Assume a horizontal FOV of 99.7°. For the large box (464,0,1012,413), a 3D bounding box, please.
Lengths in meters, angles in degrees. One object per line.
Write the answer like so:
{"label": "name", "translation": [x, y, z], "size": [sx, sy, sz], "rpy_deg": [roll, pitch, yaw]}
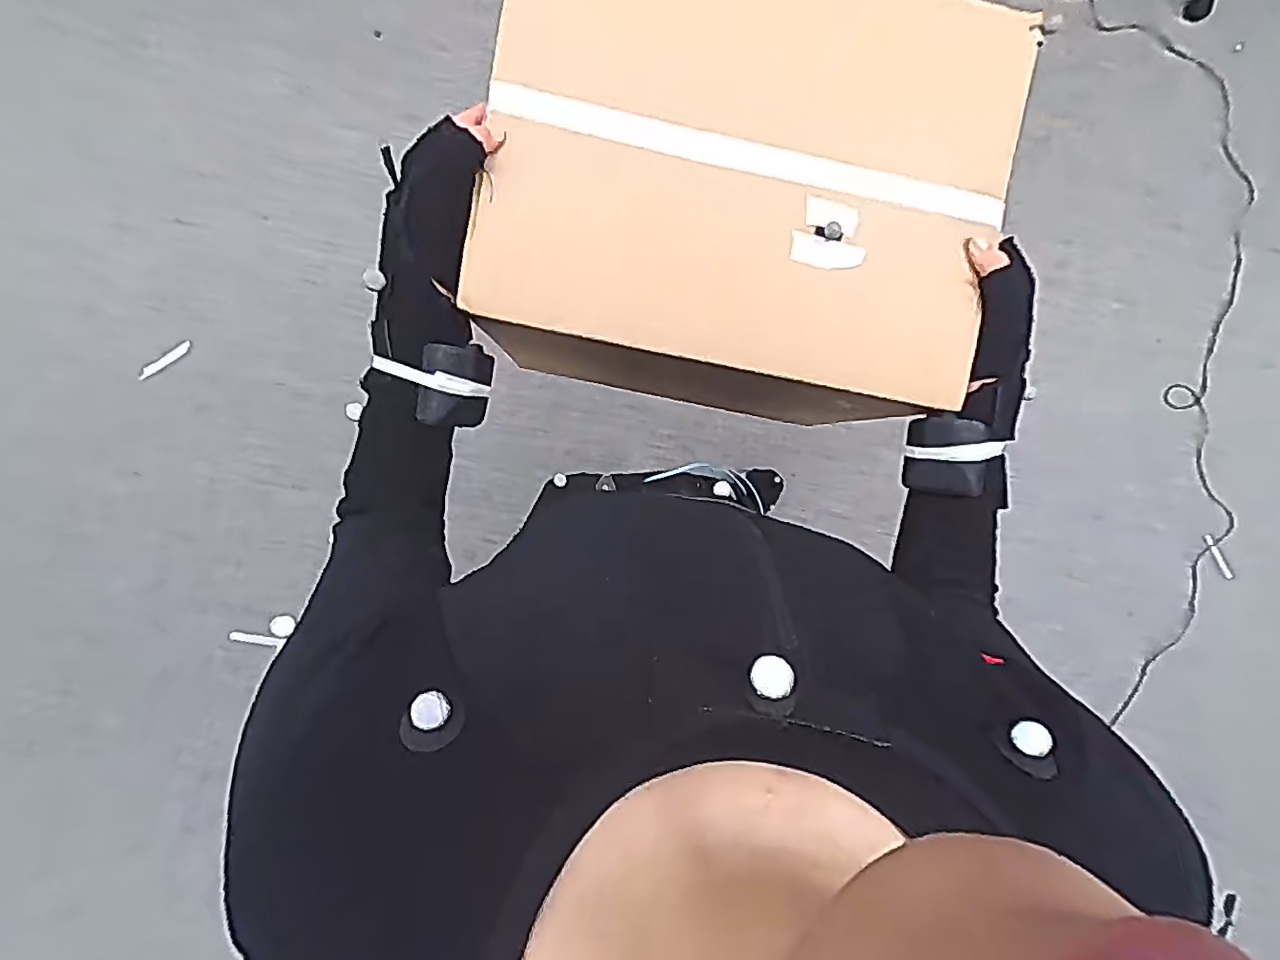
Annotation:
{"label": "large box", "translation": [0.068, -0.263, 0.572], "size": [0.408, 0.320, 0.320], "rpy_deg": [10, 94, -6]}
